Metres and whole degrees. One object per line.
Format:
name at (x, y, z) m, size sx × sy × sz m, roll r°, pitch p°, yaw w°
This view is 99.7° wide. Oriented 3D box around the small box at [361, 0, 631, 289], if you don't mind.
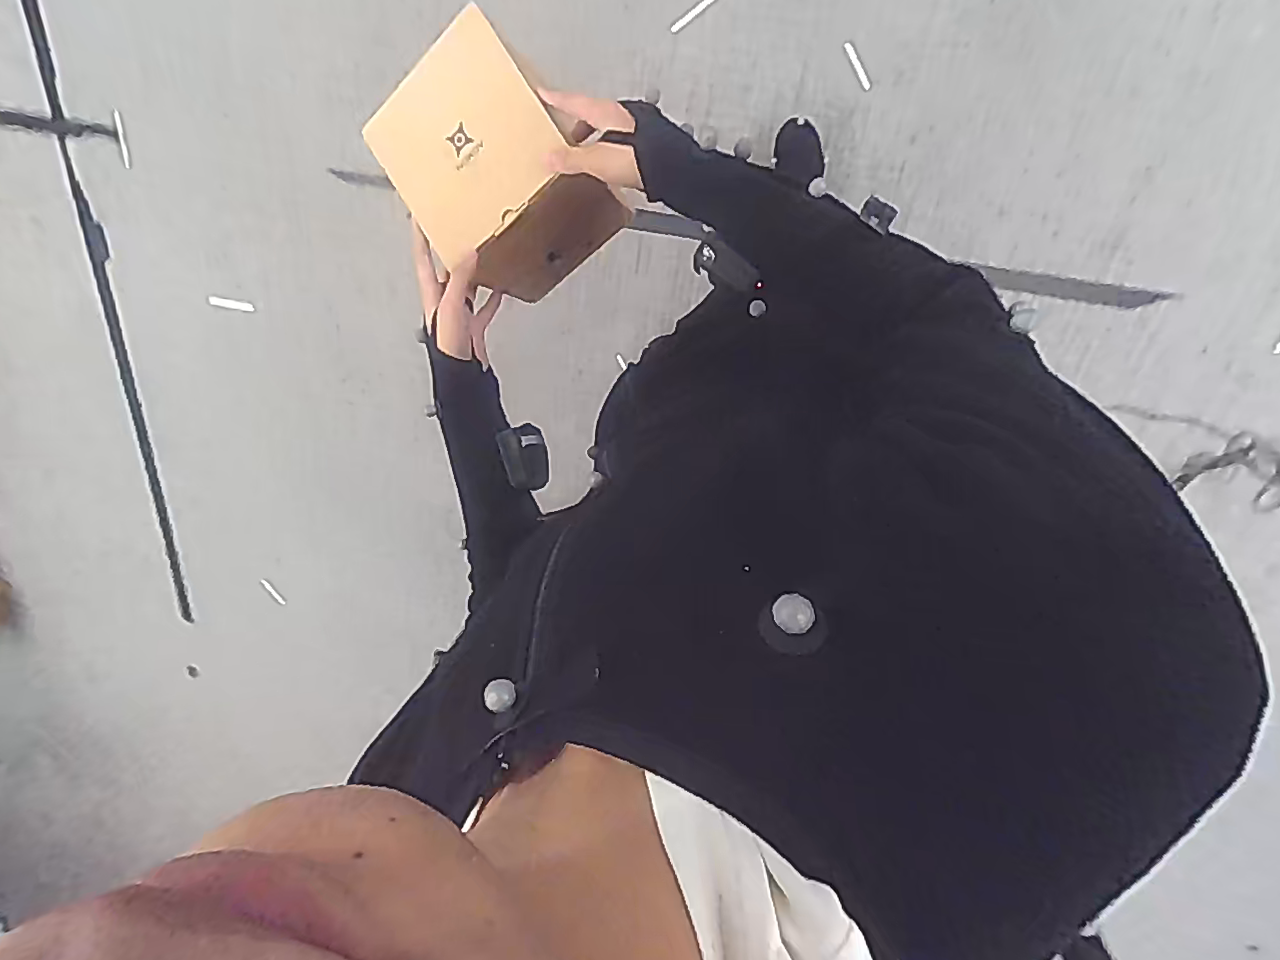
small box at (-0.136, -0.328, 0.565) m, size 0.168 × 0.176 × 0.179 m, roll -33°, pitch 88°, yaw 19°
